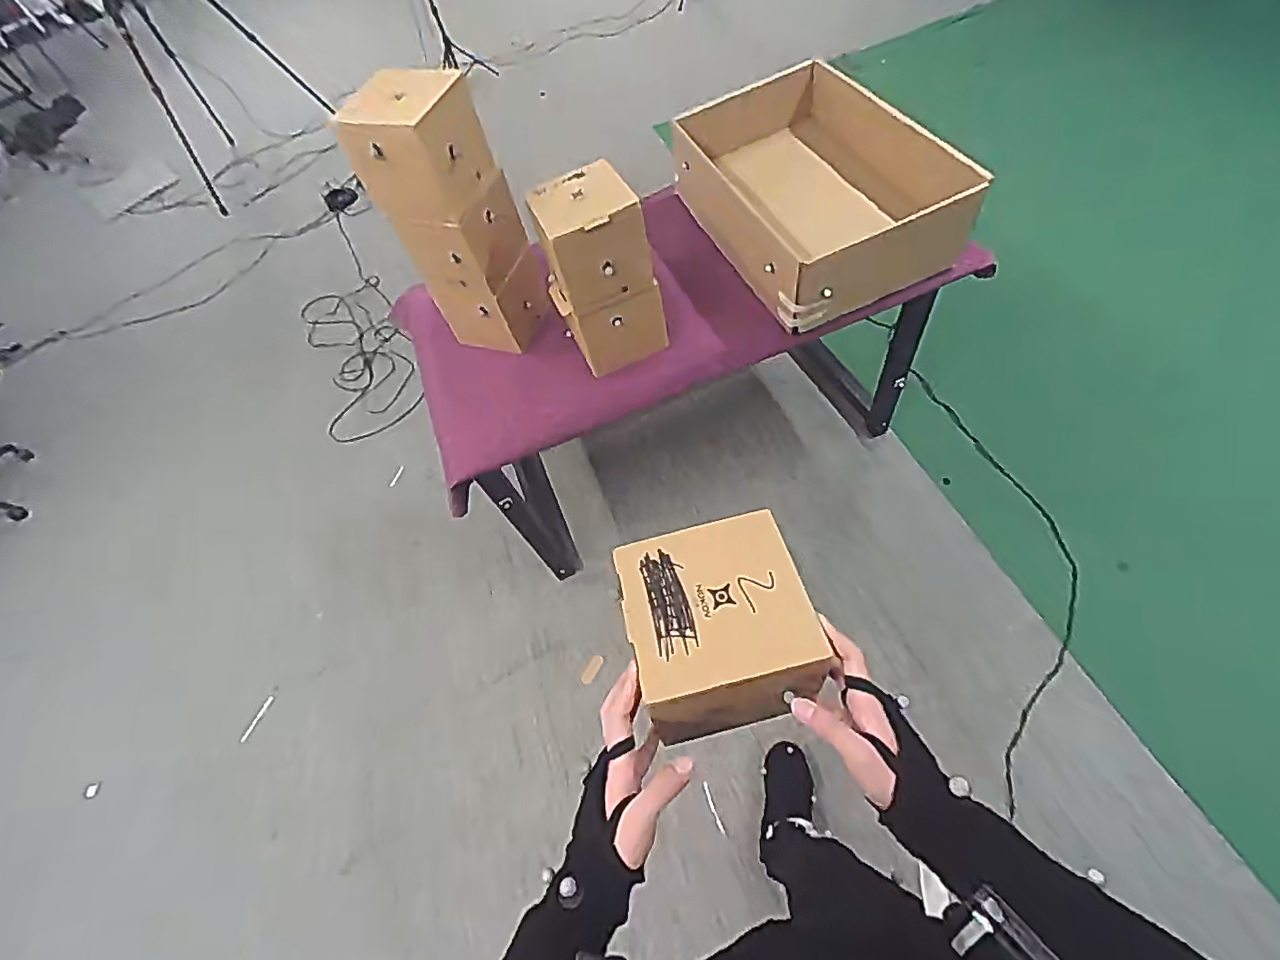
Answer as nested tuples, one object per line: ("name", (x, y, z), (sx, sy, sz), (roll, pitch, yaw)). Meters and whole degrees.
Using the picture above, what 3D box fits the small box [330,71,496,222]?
("small box", (-0.382, -0.577, 0.947), (0.179, 0.176, 0.168), (12, 63, 16))

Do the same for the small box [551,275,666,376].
("small box", (-0.061, -0.350, 1.133), (0.179, 0.176, 0.168), (-25, 58, -5))

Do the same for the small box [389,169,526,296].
("small box", (-0.352, -0.497, 1.084), (0.168, 0.176, 0.179), (15, 63, 17))

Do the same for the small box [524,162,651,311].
("small box", (-0.091, -0.437, 0.997), (0.168, 0.176, 0.179), (-24, 58, -5))

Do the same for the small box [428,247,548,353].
("small box", (-0.331, -0.410, 1.220), (0.179, 0.176, 0.168), (14, 63, 18))
